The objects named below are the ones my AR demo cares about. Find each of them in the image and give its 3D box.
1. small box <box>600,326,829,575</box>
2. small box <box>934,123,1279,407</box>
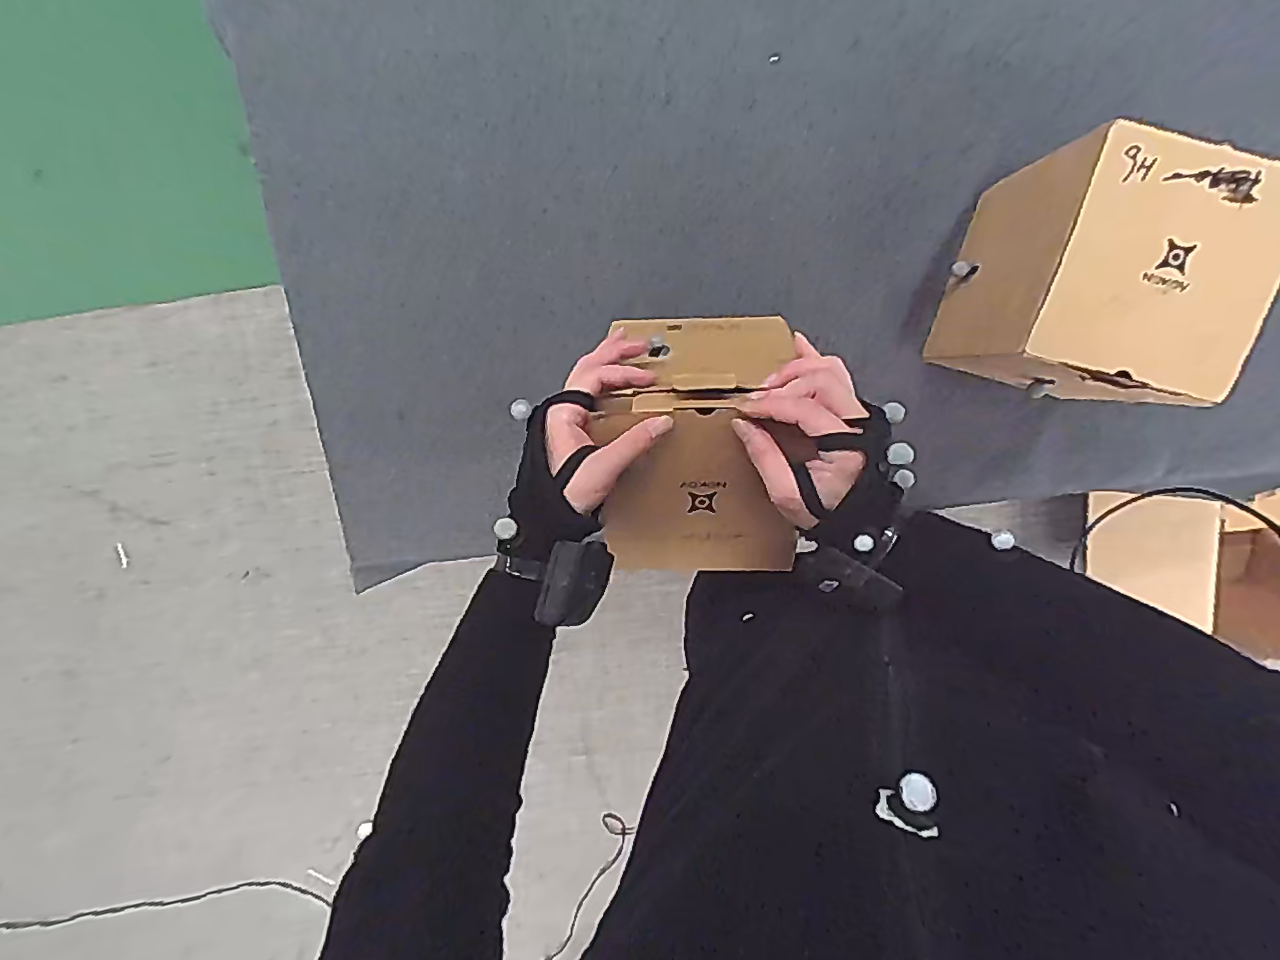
[{"bbox_3d":[0.059,-0.034,0.492,0.168,0.176,0.179,0,125,5],"label":"small box"},{"bbox_3d":[0.404,-0.176,0.493,0.168,0.176,0.179,15,102,-1],"label":"small box"}]
